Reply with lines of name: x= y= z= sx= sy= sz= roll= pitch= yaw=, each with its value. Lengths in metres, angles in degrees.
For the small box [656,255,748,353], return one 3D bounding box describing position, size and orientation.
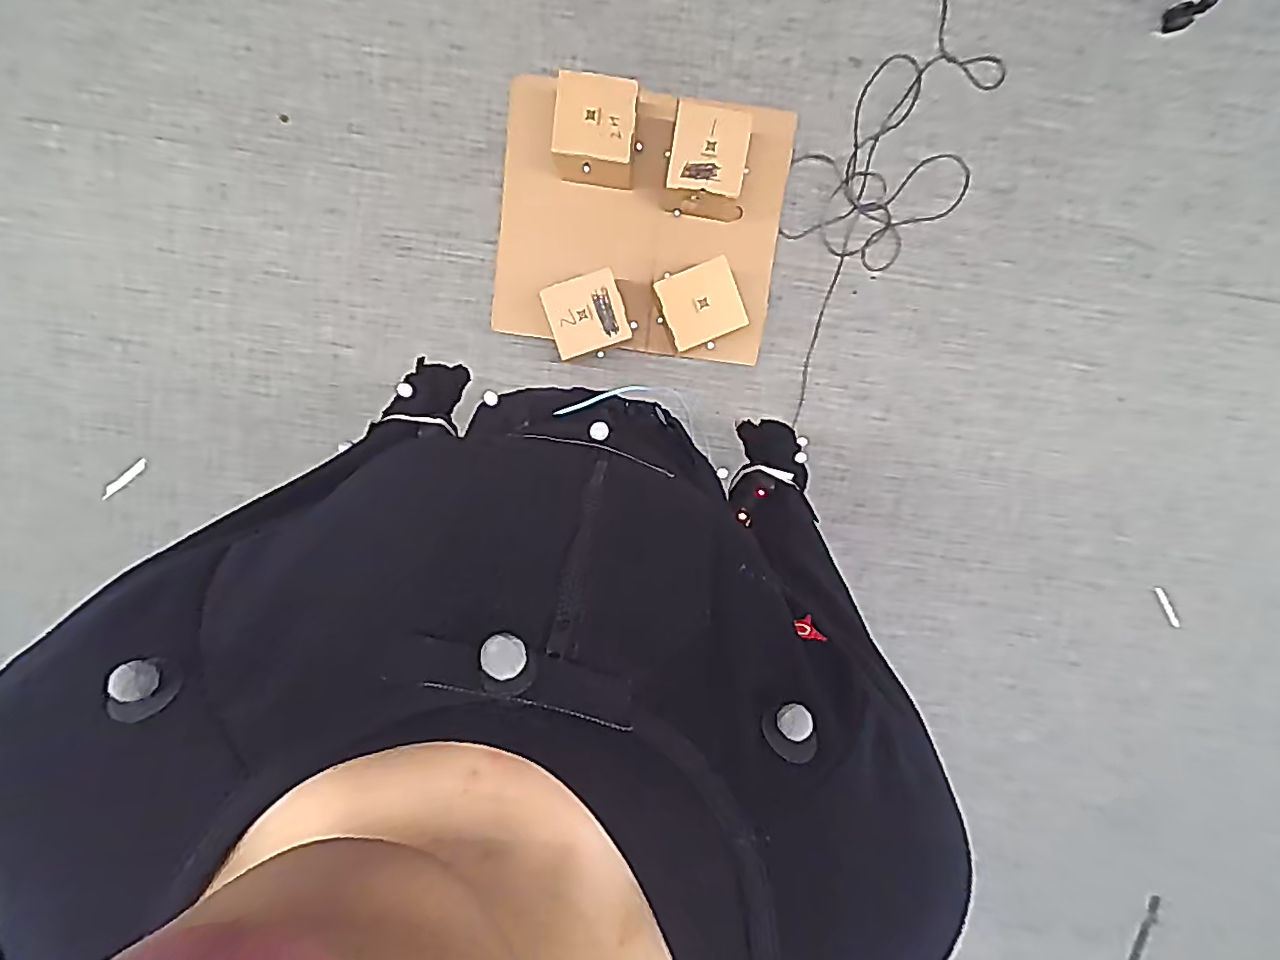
small box: x=0.144 y=-0.420 z=1.316 sx=0.179 sy=0.176 sz=0.168 roll=-21 pitch=98 yaw=5
